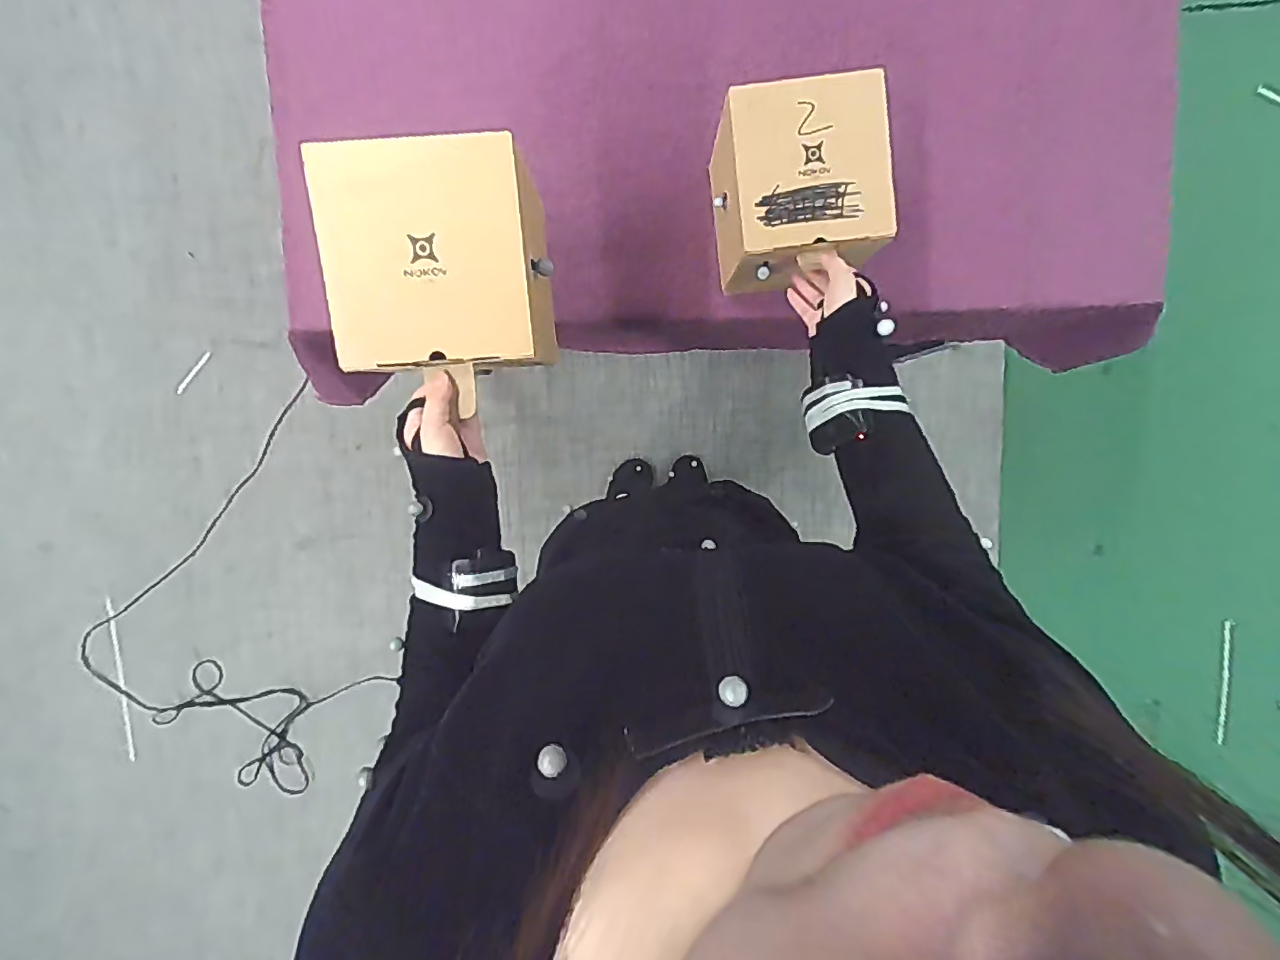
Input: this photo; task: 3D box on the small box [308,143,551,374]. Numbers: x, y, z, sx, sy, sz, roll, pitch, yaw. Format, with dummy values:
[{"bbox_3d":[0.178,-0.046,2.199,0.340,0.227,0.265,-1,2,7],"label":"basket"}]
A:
[{"bbox_3d":[-0.183,-0.196,0.526,0.168,0.176,0.179,-4,102,-2],"label":"small box"}]
